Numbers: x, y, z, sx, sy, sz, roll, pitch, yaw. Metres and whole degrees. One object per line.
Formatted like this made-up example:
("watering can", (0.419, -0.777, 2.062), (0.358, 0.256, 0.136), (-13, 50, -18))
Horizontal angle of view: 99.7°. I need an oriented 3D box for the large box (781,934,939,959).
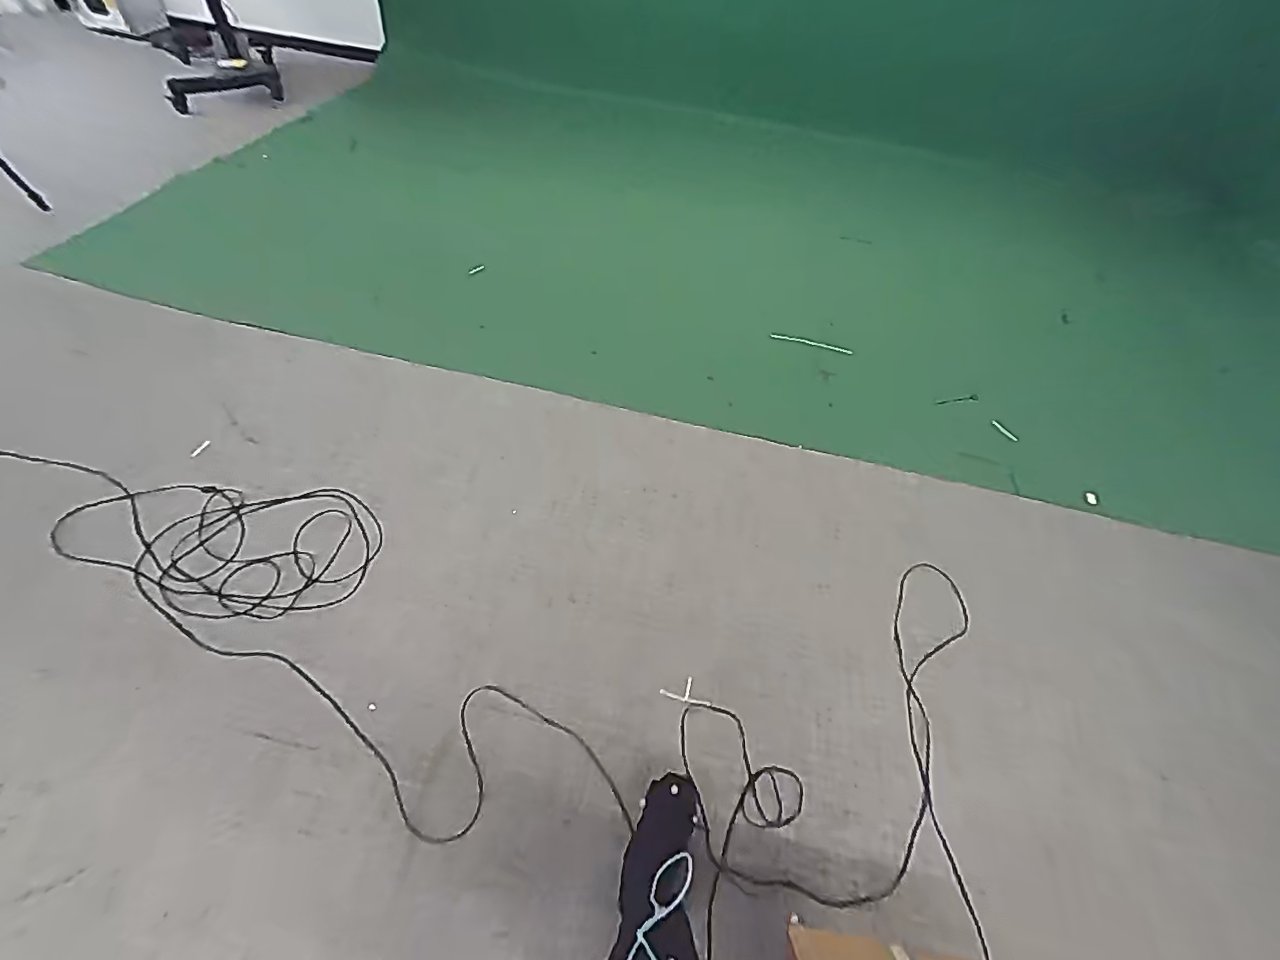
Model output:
("large box", (0.338, 0.829, 0.589), (0.320, 0.408, 0.320), (12, 85, 1))
